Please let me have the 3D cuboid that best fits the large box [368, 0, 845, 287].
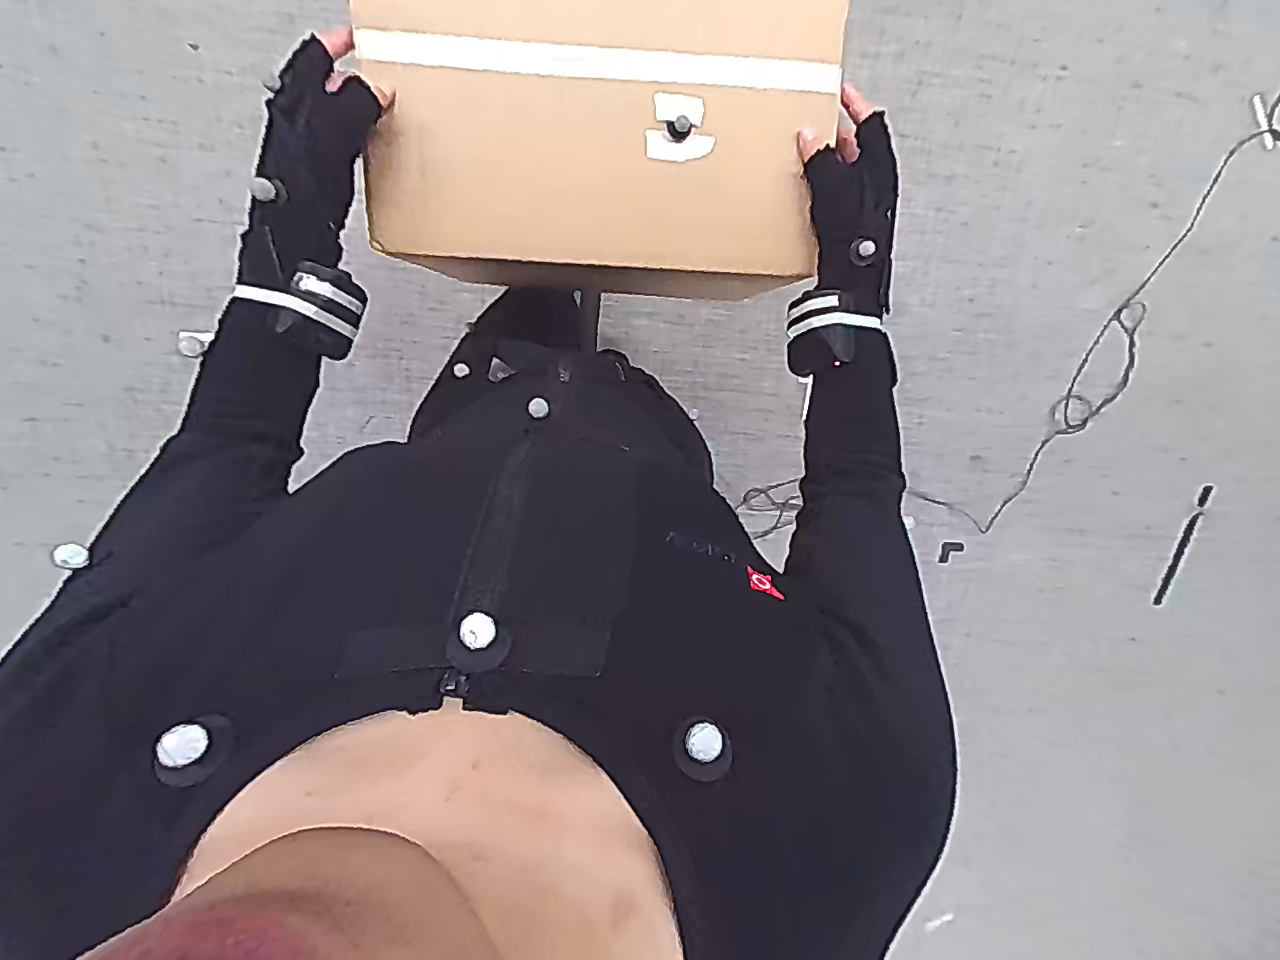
[{"bbox_3d":[-0.035,-0.397,0.604,0.408,0.320,0.320,2,106,-4],"label":"large box"}]
